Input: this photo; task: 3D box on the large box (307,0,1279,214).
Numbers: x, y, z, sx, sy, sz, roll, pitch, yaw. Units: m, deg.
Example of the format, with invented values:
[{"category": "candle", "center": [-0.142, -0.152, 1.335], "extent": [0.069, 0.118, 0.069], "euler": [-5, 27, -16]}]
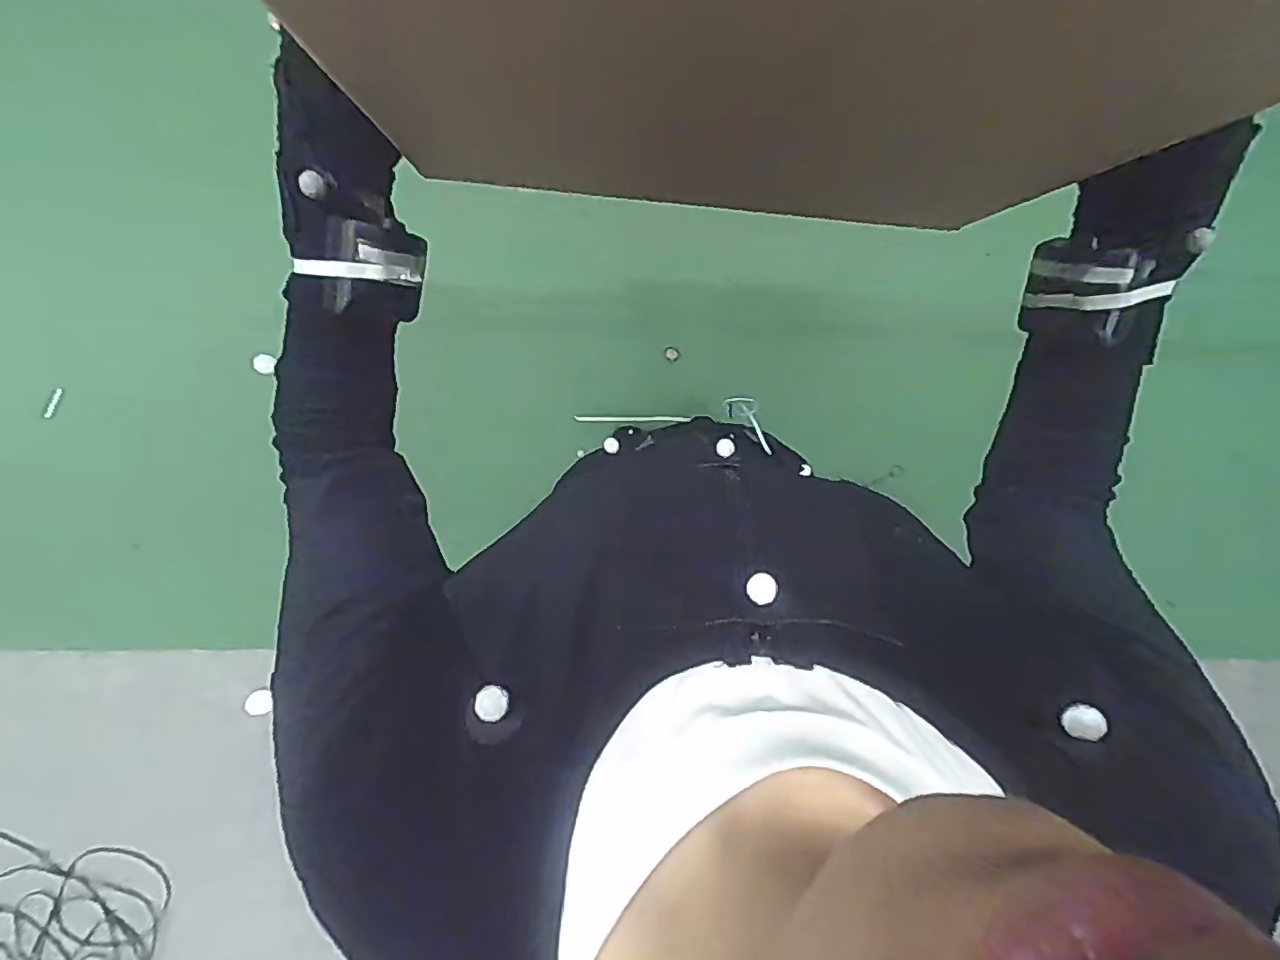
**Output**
[{"category": "large box", "center": [0.068, -0.332, 0.225], "extent": [0.408, 0.320, 0.320], "euler": [3, 102, -6]}]
